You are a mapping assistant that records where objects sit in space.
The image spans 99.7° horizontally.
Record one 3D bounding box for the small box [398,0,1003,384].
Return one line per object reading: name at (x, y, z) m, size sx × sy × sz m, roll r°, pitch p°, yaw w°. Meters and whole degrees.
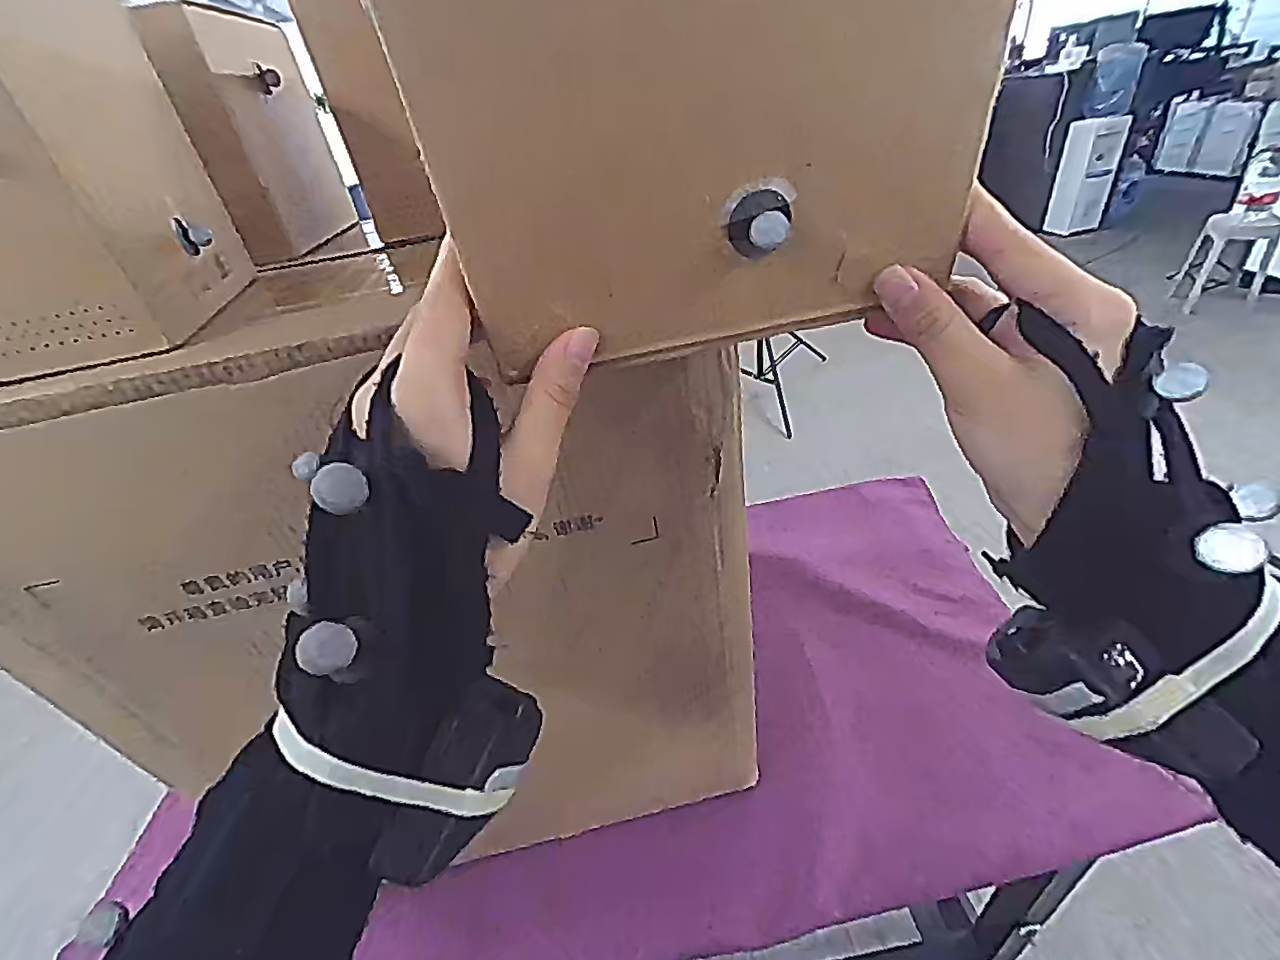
small box at (0.014, -0.166, 0.214) m, size 0.179 × 0.176 × 0.168 m, roll -11°, pitch 41°, yaw -1°
